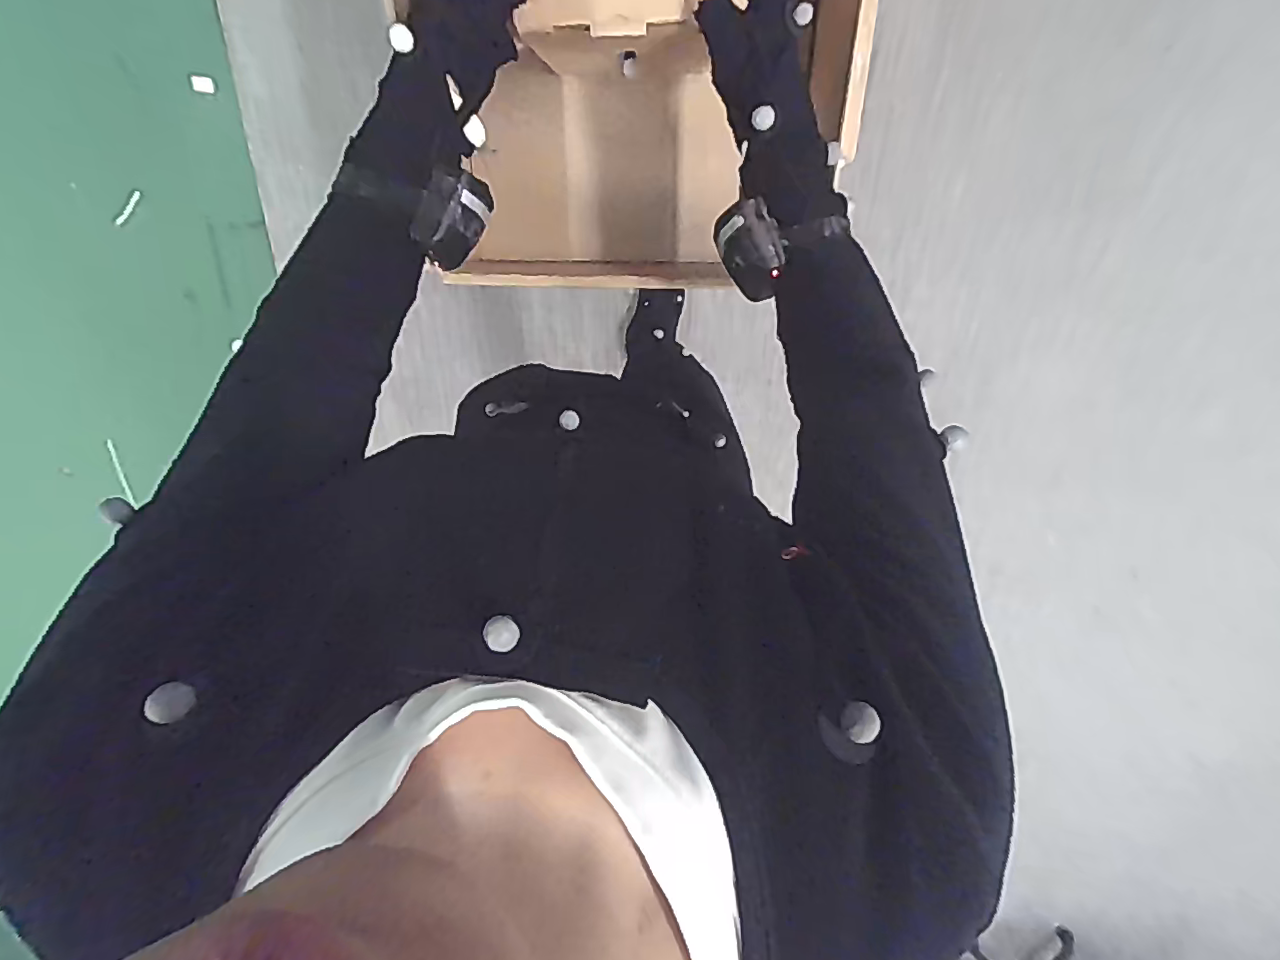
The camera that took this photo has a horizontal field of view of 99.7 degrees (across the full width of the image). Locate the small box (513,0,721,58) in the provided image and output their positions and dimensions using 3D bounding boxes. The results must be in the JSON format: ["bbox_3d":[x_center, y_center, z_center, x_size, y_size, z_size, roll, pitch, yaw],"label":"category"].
[{"bbox_3d":[-0.013,-0.470,0.447,0.168,0.176,0.179,1,119,3],"label":"small box"}]
